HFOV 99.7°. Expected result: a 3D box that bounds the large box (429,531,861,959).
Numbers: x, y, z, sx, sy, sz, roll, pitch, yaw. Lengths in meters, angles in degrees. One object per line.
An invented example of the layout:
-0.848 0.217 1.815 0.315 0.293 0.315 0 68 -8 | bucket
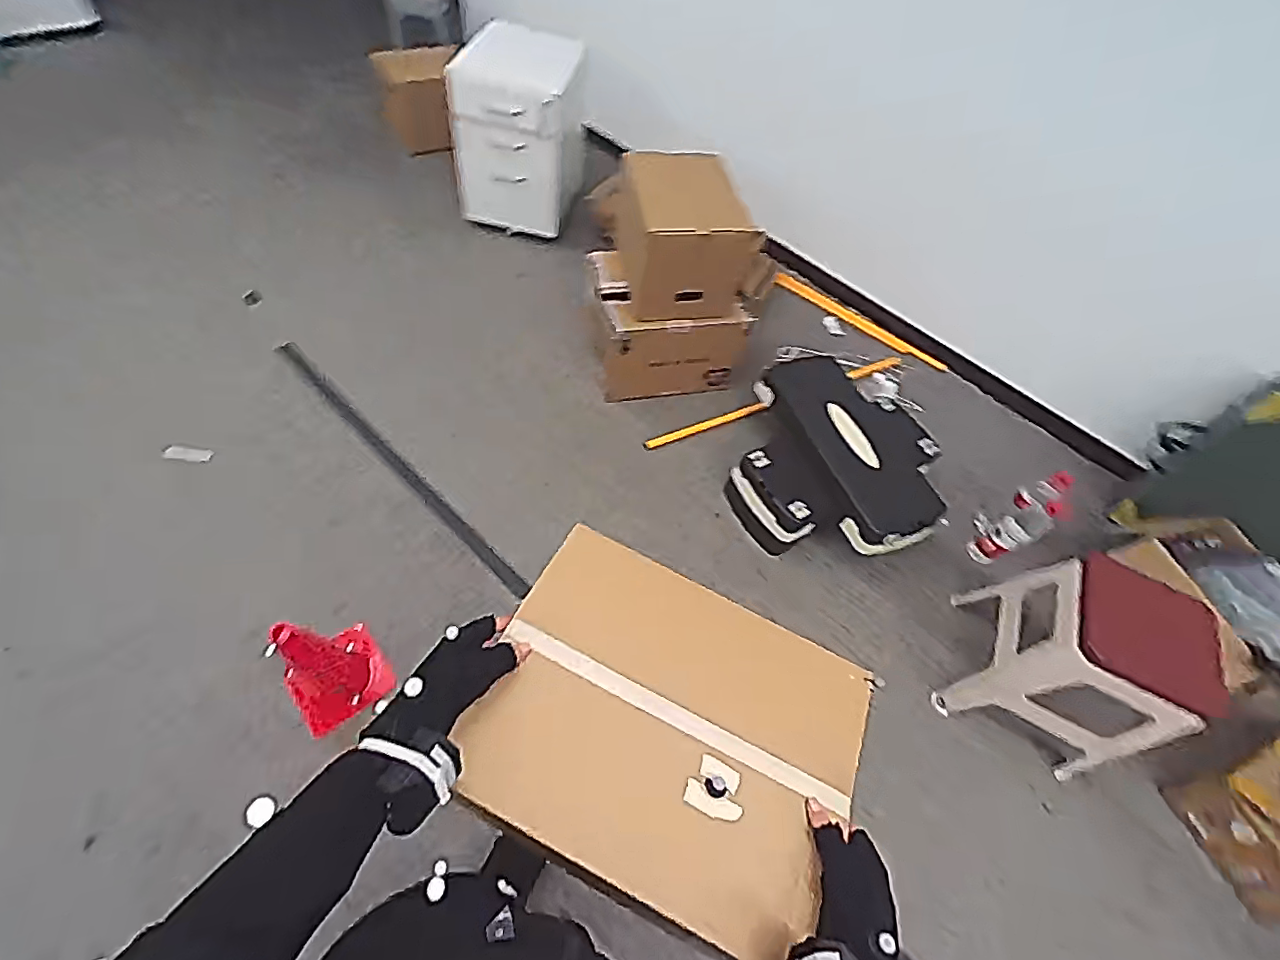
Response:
0.002 0.337 0.702 0.408 0.320 0.320 27 54 6 | large box

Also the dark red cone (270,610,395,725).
-0.694 0.362 1.156 0.202 0.394 0.201 -33 69 -26 | dark red cone
